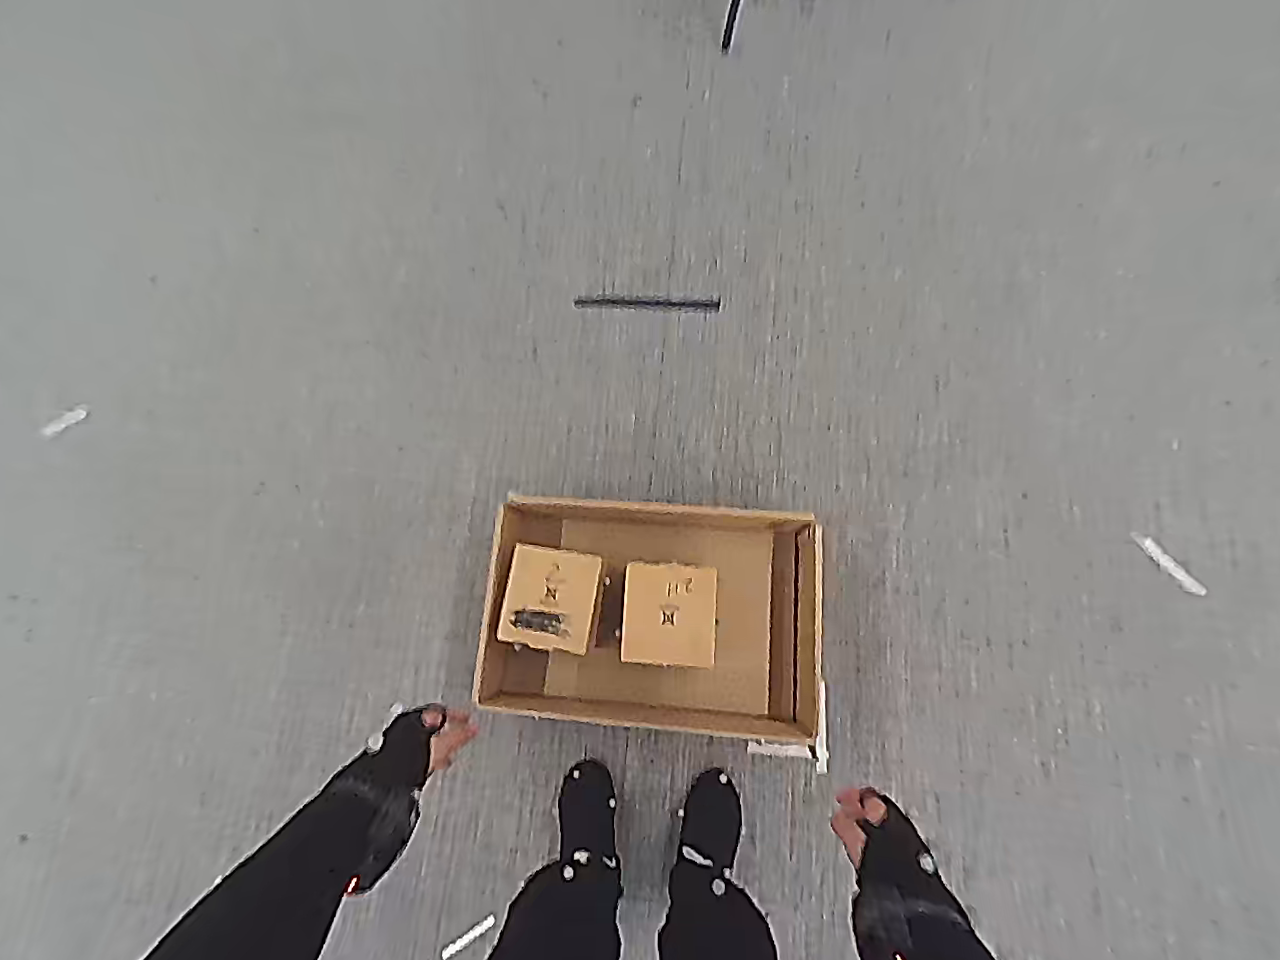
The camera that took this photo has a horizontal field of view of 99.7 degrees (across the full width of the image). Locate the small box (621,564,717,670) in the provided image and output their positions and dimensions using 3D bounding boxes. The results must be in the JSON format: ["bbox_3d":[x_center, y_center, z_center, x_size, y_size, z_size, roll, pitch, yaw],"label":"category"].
[{"bbox_3d":[0.060,0.259,1.040,0.168,0.176,0.179,2,76,5],"label":"small box"}]
